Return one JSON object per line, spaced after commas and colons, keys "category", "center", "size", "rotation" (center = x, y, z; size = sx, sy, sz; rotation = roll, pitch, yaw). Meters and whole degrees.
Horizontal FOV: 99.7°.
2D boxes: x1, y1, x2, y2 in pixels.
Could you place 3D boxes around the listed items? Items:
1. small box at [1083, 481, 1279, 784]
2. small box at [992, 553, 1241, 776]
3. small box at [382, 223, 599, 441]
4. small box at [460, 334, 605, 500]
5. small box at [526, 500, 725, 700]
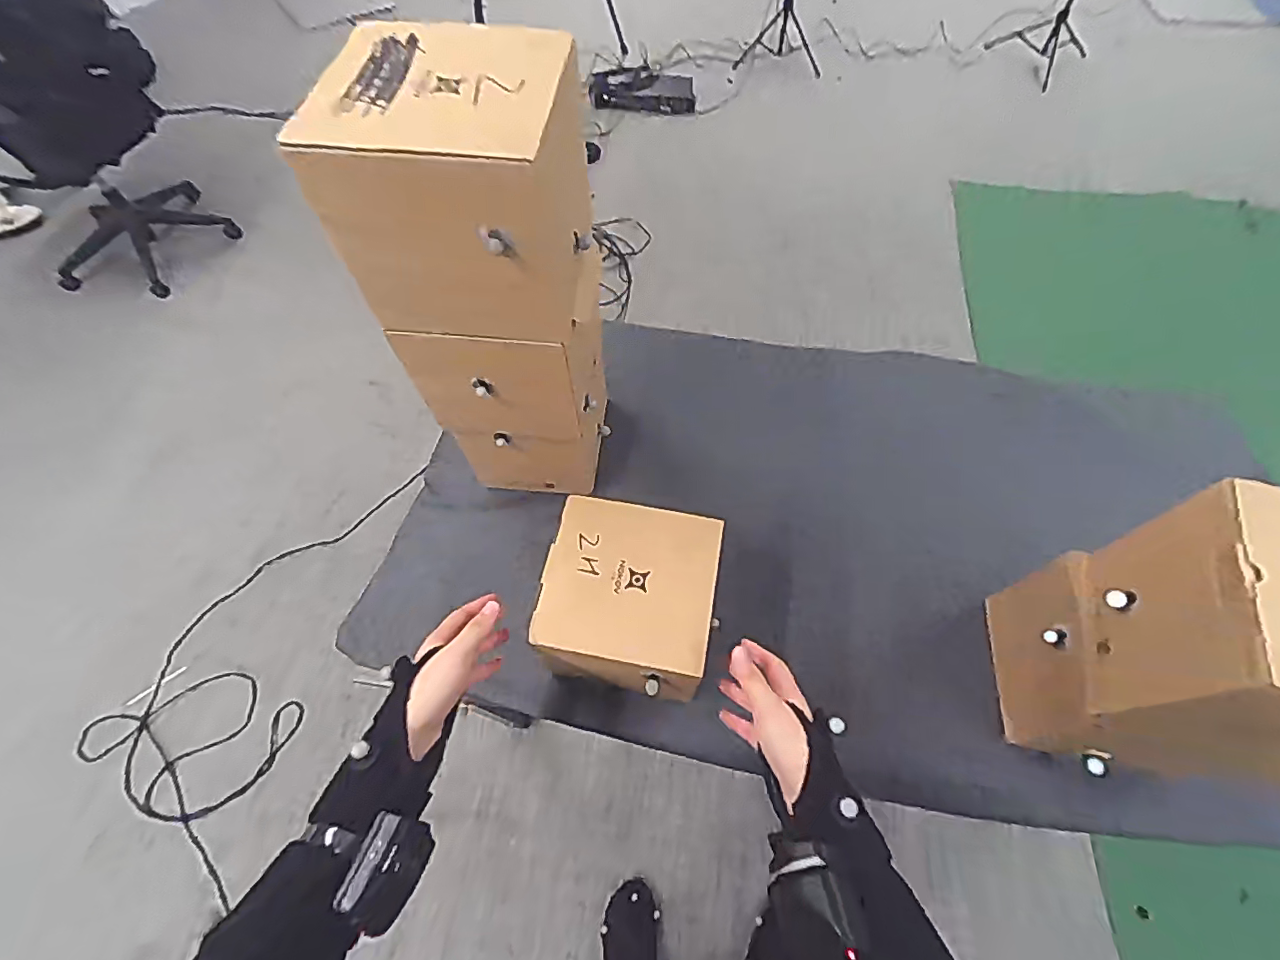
{"category": "small box", "center": [0.501, 0.130, 0.427], "size": [0.179, 0.176, 0.168], "rotation": [17, 61, 12]}
{"category": "small box", "center": [0.507, 0.200, 0.574], "size": [0.168, 0.176, 0.179], "rotation": [7, 60, 7]}
{"category": "small box", "center": [-0.145, -0.157, 0.606], "size": [0.179, 0.176, 0.168], "rotation": [4, 62, 4]}
{"category": "small box", "center": [-0.141, -0.092, 0.758], "size": [0.168, 0.176, 0.179], "rotation": [4, 61, 3]}
{"category": "small box", "center": [-0.008, 0.144, 0.618], "size": [0.179, 0.176, 0.168], "rotation": [9, 61, 7]}
